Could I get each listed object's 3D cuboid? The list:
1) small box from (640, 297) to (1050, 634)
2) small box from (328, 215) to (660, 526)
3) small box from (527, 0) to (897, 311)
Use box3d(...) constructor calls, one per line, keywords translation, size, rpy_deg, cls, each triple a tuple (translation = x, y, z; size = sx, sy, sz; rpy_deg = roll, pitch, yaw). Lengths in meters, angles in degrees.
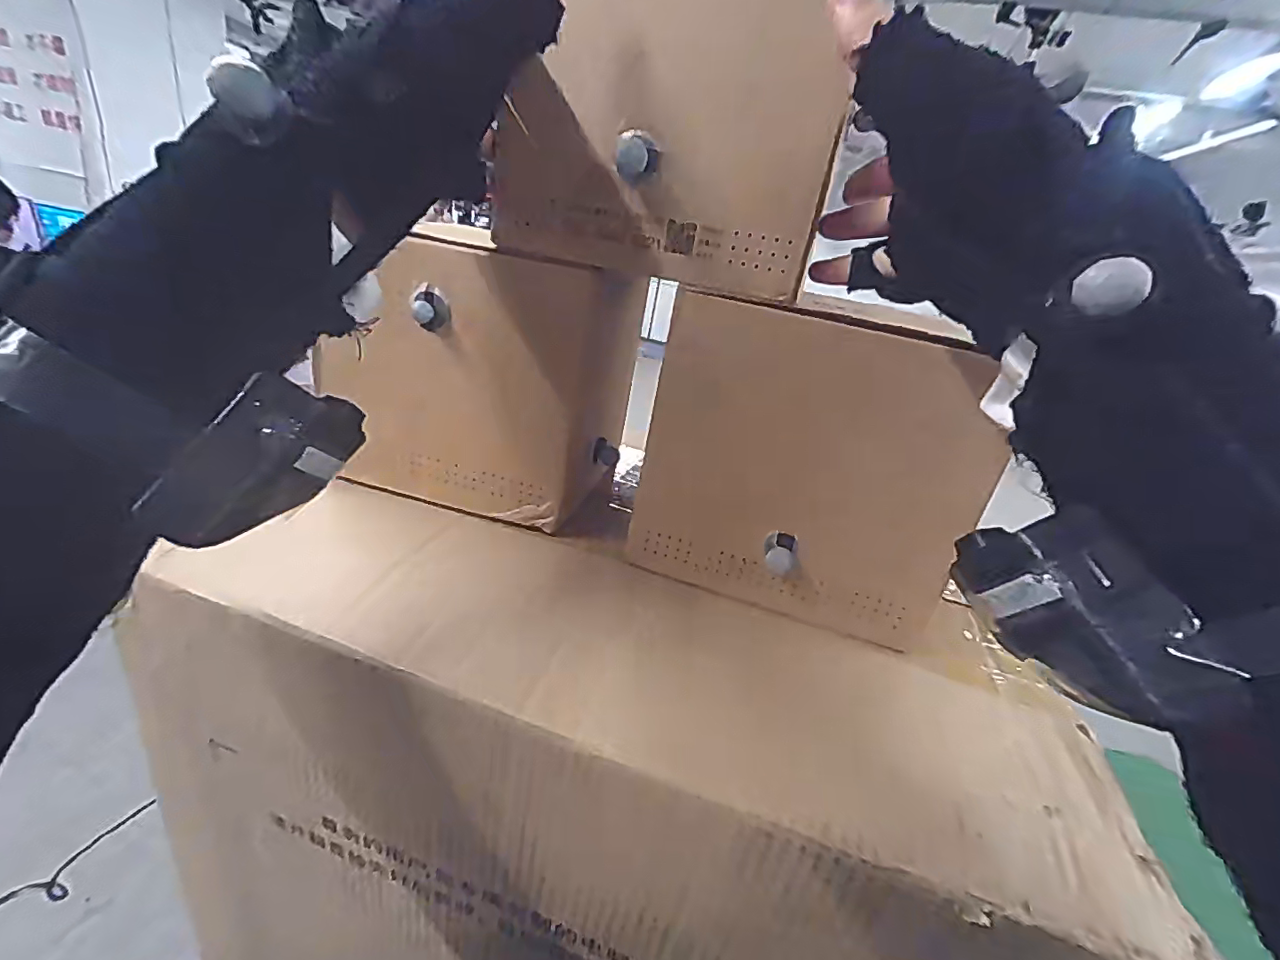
box3d(translation=(0.114, -0.024, 0.363), size=(0.179, 0.176, 0.168), rpy_deg=(15, 24, 11), cls="small box")
box3d(translation=(-0.096, -0.084, 0.403), size=(0.179, 0.176, 0.168), rpy_deg=(15, 24, 8), cls="small box")
box3d(translation=(0.043, -0.206, 0.325), size=(0.168, 0.176, 0.179), rpy_deg=(15, 25, 11), cls="small box")
